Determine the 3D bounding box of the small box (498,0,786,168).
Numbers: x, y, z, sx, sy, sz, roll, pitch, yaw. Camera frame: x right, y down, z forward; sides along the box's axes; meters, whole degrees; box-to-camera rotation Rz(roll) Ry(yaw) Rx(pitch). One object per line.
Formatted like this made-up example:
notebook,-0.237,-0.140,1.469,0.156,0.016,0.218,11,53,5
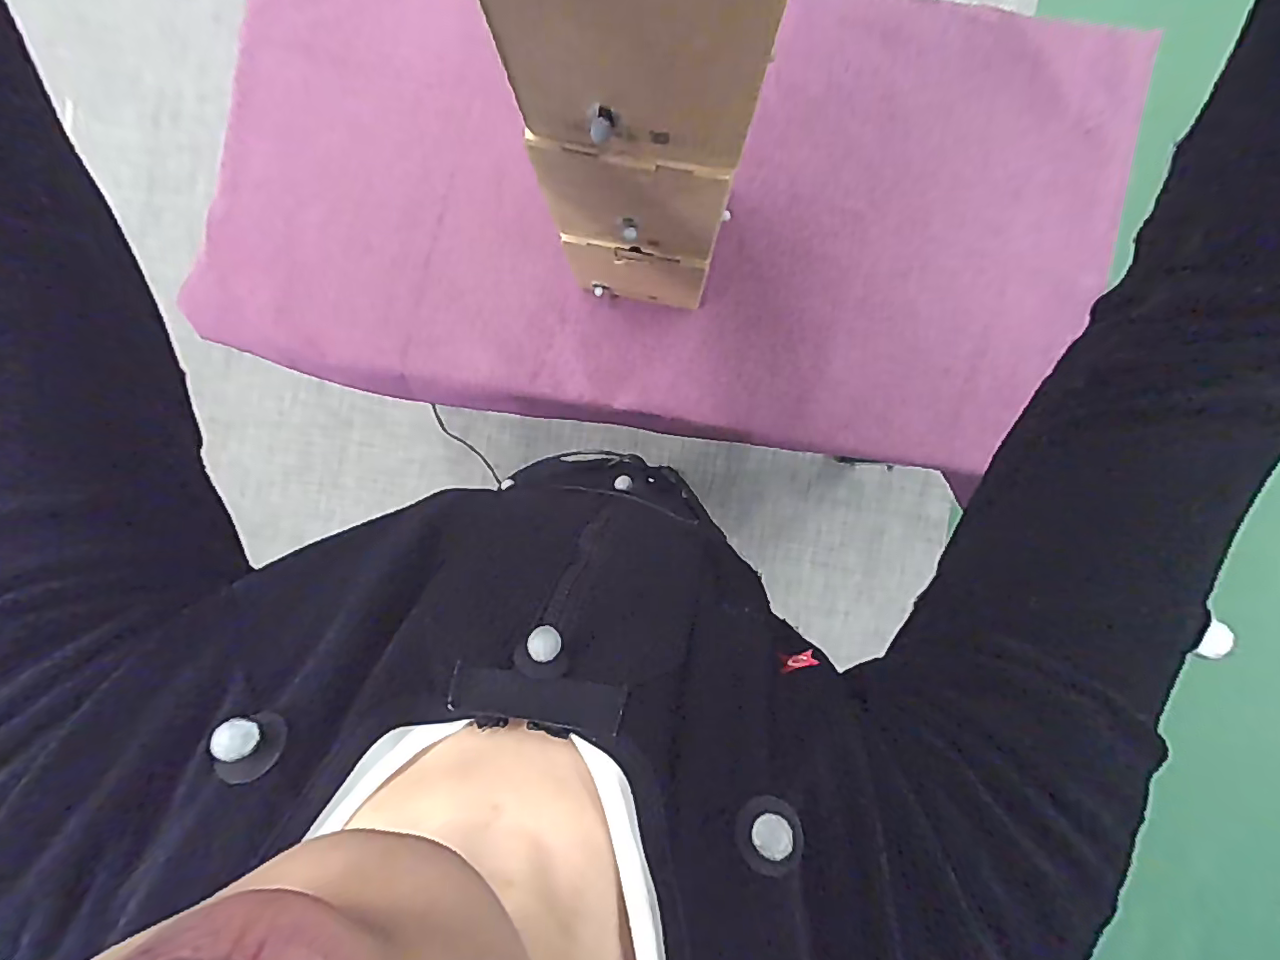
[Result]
small box,0.008,-0.336,0.333,0.168,0.176,0.179,11,92,1

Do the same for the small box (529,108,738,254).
small box,0.010,-0.337,0.496,0.168,0.176,0.179,11,92,1

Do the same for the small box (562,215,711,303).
small box,0.013,-0.334,0.660,0.168,0.176,0.179,11,91,1
